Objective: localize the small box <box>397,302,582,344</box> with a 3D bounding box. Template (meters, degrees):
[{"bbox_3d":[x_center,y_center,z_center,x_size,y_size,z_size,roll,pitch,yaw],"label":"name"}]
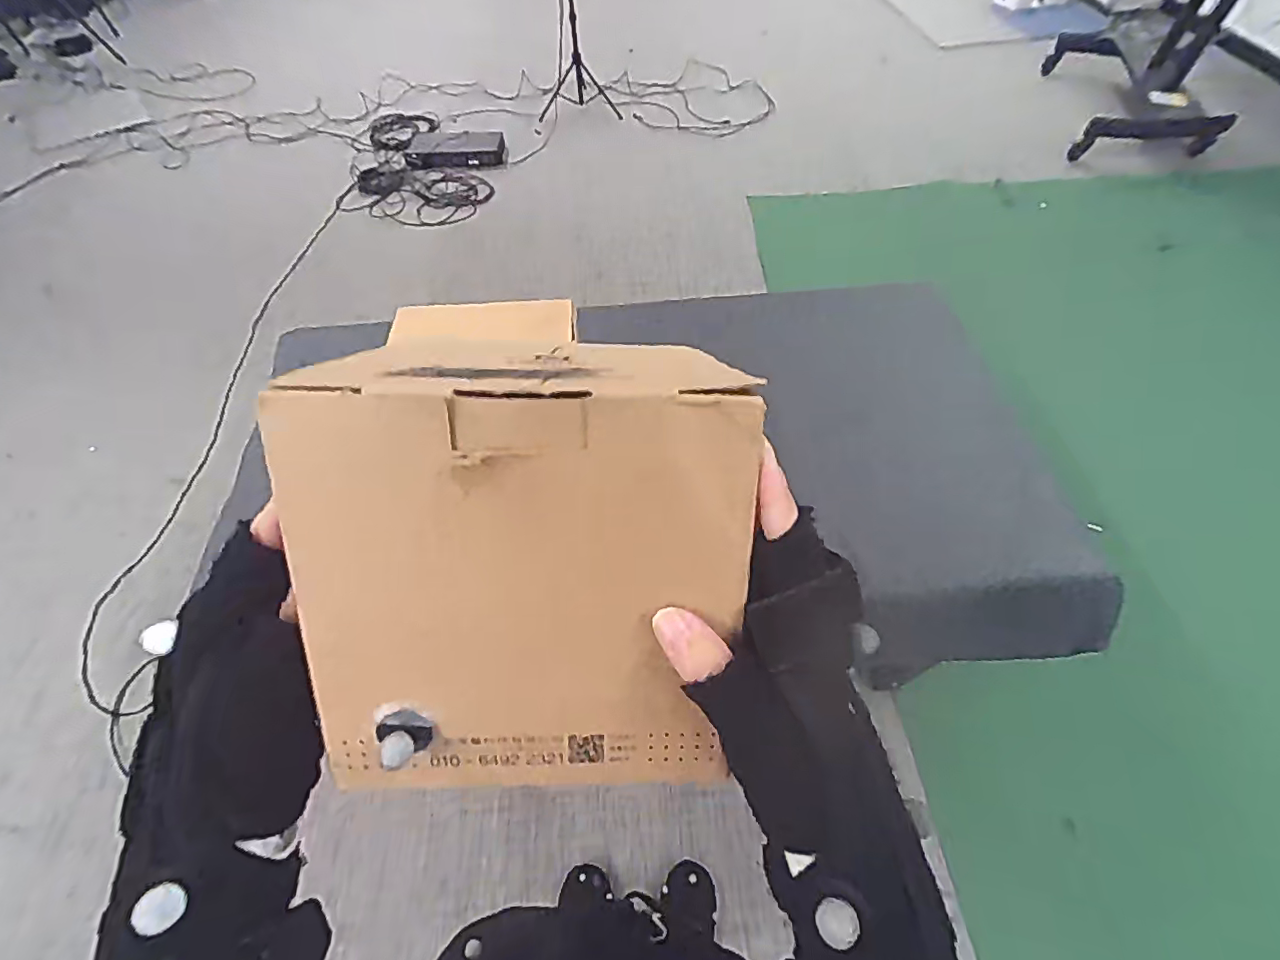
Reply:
[{"bbox_3d":[-0.143,-0.061,0.563,0.179,0.176,0.168,-4,54,0],"label":"small box"}]

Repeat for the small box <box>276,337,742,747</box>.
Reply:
[{"bbox_3d":[-0.049,0.018,0.291,0.168,0.176,0.179,1,19,-4],"label":"small box"}]
